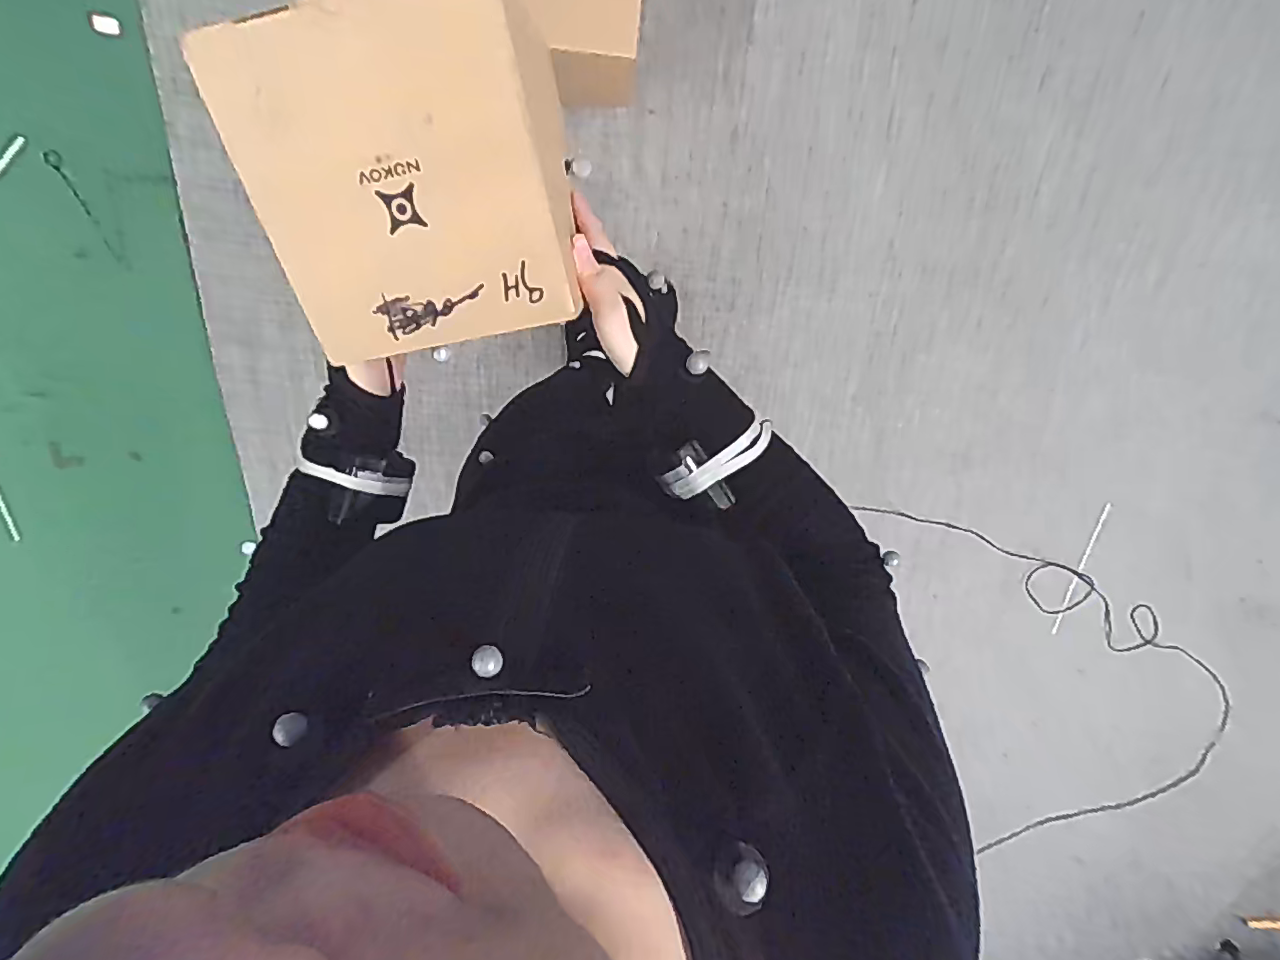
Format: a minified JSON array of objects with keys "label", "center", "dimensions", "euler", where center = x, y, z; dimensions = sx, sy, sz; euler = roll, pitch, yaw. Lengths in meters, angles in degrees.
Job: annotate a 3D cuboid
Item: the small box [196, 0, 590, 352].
[{"label":"small box","center":[-0.135,-0.204,0.378],"dimensions":[0.168,0.176,0.179],"euler":[-8,117,5]}]
